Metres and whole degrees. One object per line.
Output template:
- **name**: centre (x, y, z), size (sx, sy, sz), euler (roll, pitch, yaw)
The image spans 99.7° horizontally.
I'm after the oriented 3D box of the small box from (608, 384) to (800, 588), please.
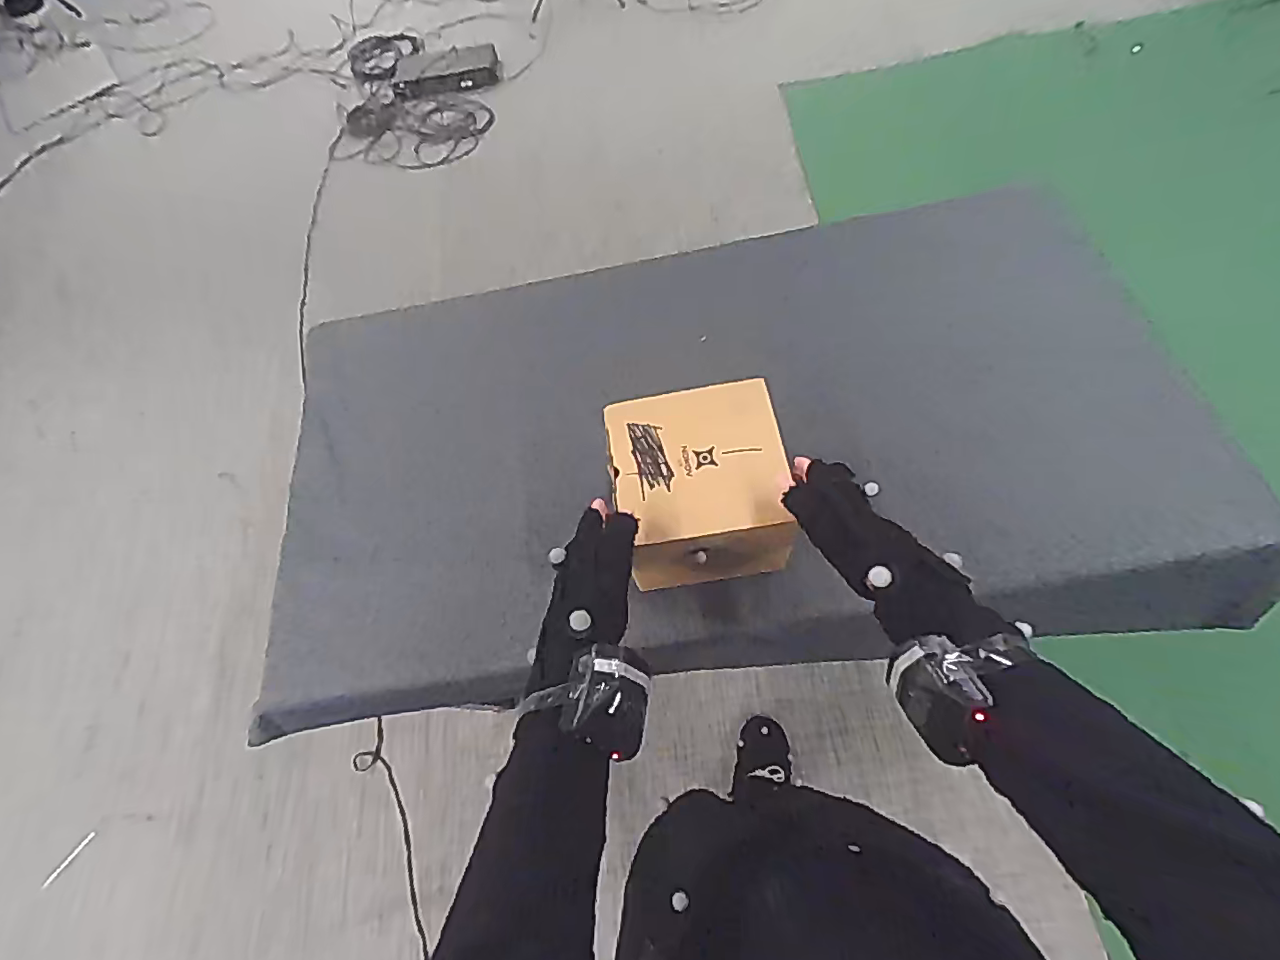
- **small box**: centre (0.069, 0.017, 0.622), size (0.179, 0.176, 0.168), euler (-9, 64, 3)
